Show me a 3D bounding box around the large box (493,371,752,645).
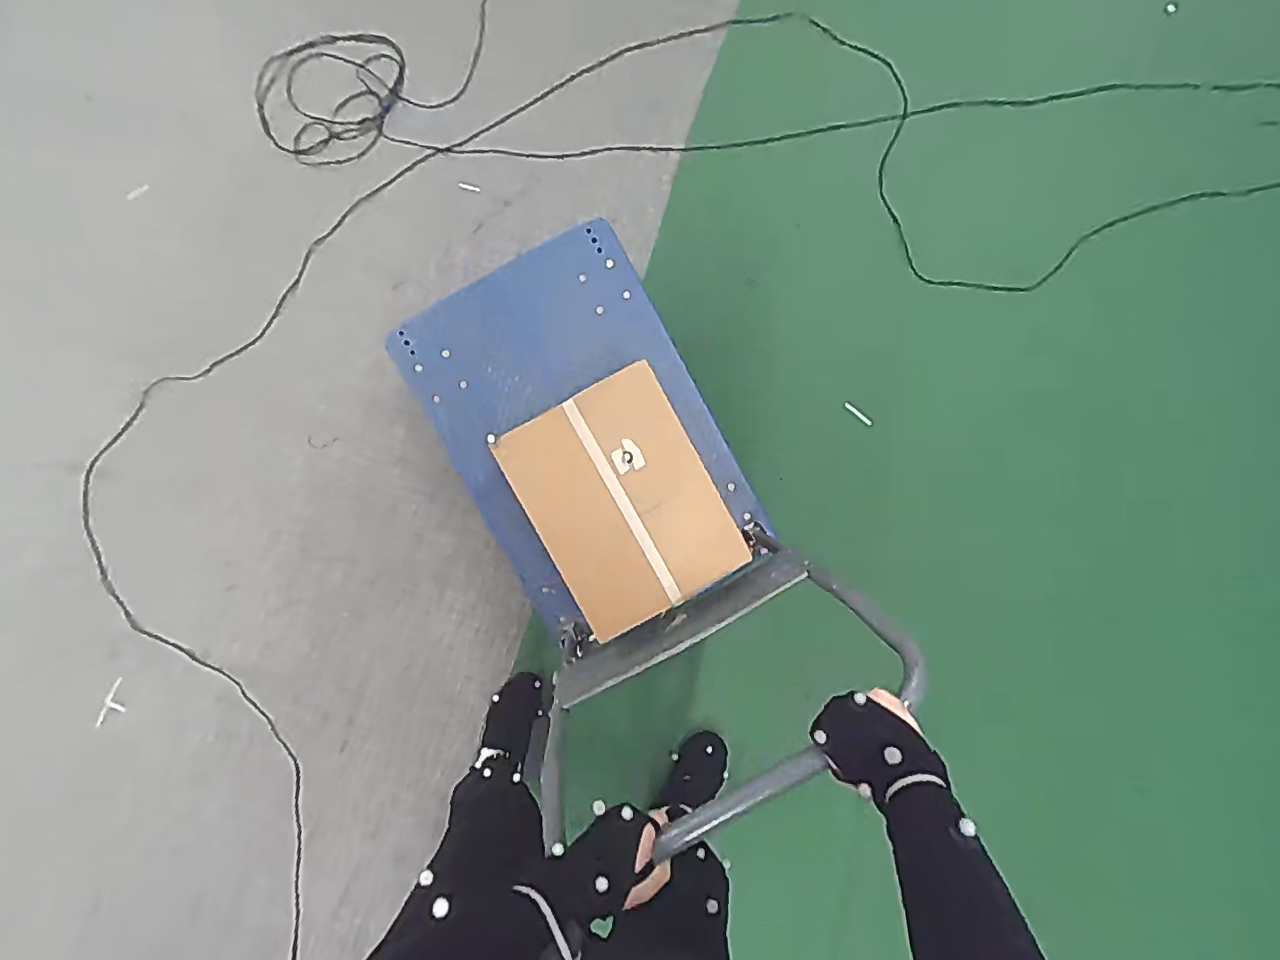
[{"bbox_3d":[-0.030,0.049,1.098,0.320,0.320,0.408,-29,91,-1],"label":"large box"}]
